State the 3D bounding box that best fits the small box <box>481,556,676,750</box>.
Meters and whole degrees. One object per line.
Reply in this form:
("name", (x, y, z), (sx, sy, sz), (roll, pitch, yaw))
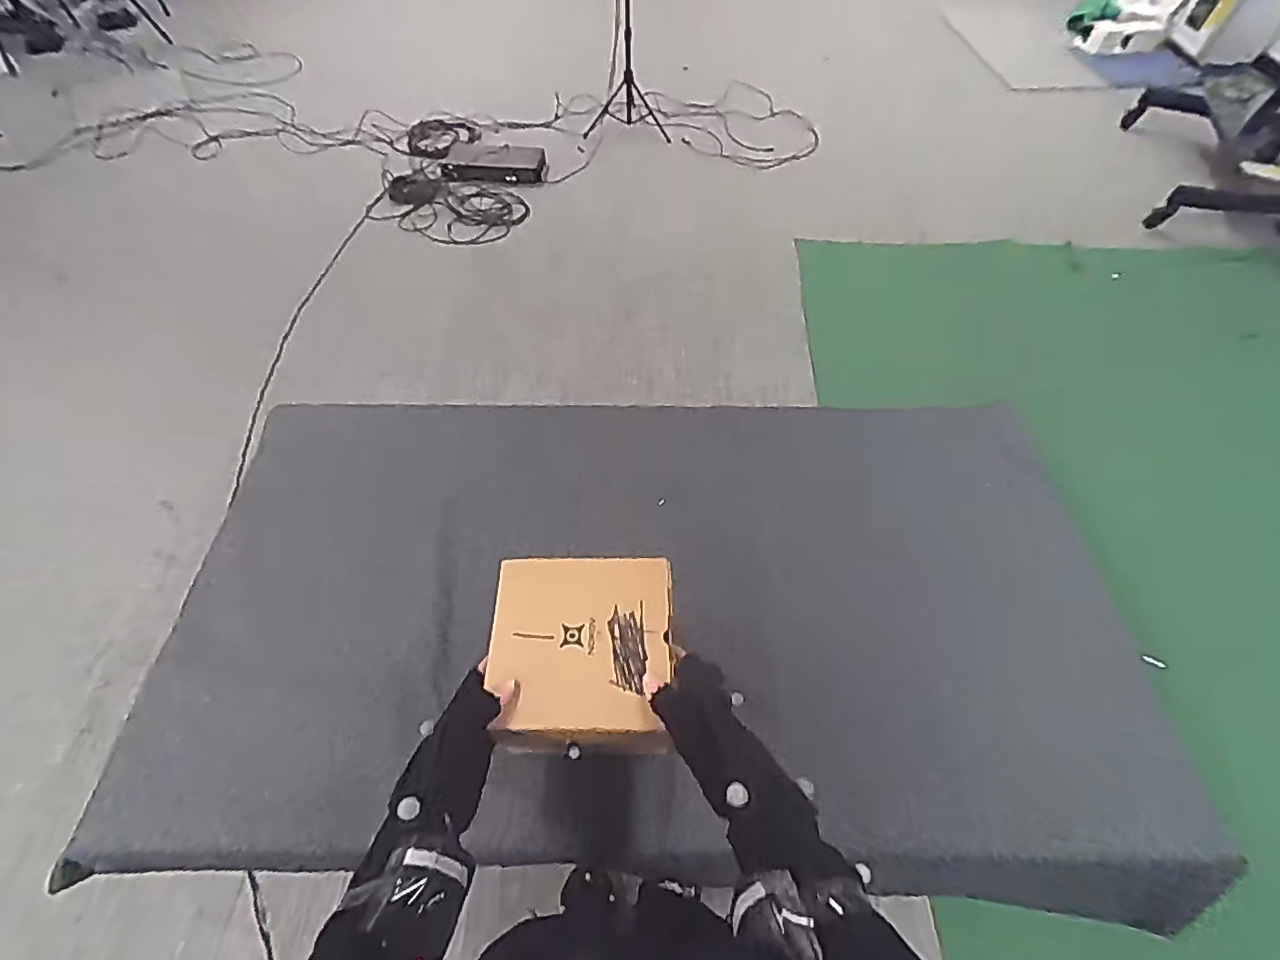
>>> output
("small box", (-0.054, 0.192, 0.590), (0.179, 0.176, 0.168), (0, 57, 1))
